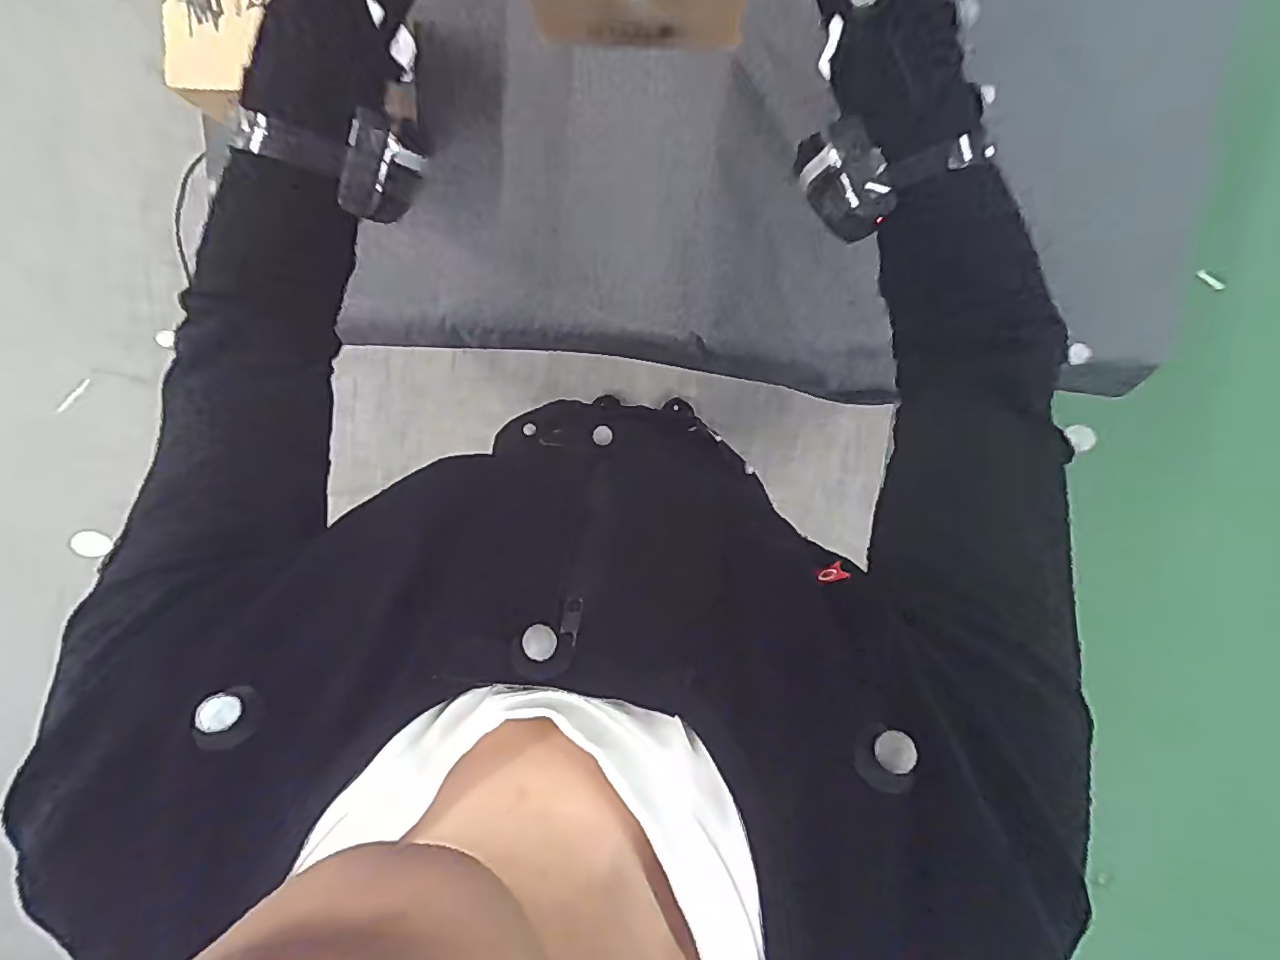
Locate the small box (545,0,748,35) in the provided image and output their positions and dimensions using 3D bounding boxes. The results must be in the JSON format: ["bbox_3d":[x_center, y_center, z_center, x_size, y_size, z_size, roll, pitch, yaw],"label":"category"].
[{"bbox_3d":[0.003,-0.439,0.355,0.168,0.176,0.179,3,97,2],"label":"small box"}]

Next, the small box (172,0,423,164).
[{"bbox_3d":[-0.359,-0.468,0.592,0.179,0.176,0.168,2,99,1],"label":"small box"}]
